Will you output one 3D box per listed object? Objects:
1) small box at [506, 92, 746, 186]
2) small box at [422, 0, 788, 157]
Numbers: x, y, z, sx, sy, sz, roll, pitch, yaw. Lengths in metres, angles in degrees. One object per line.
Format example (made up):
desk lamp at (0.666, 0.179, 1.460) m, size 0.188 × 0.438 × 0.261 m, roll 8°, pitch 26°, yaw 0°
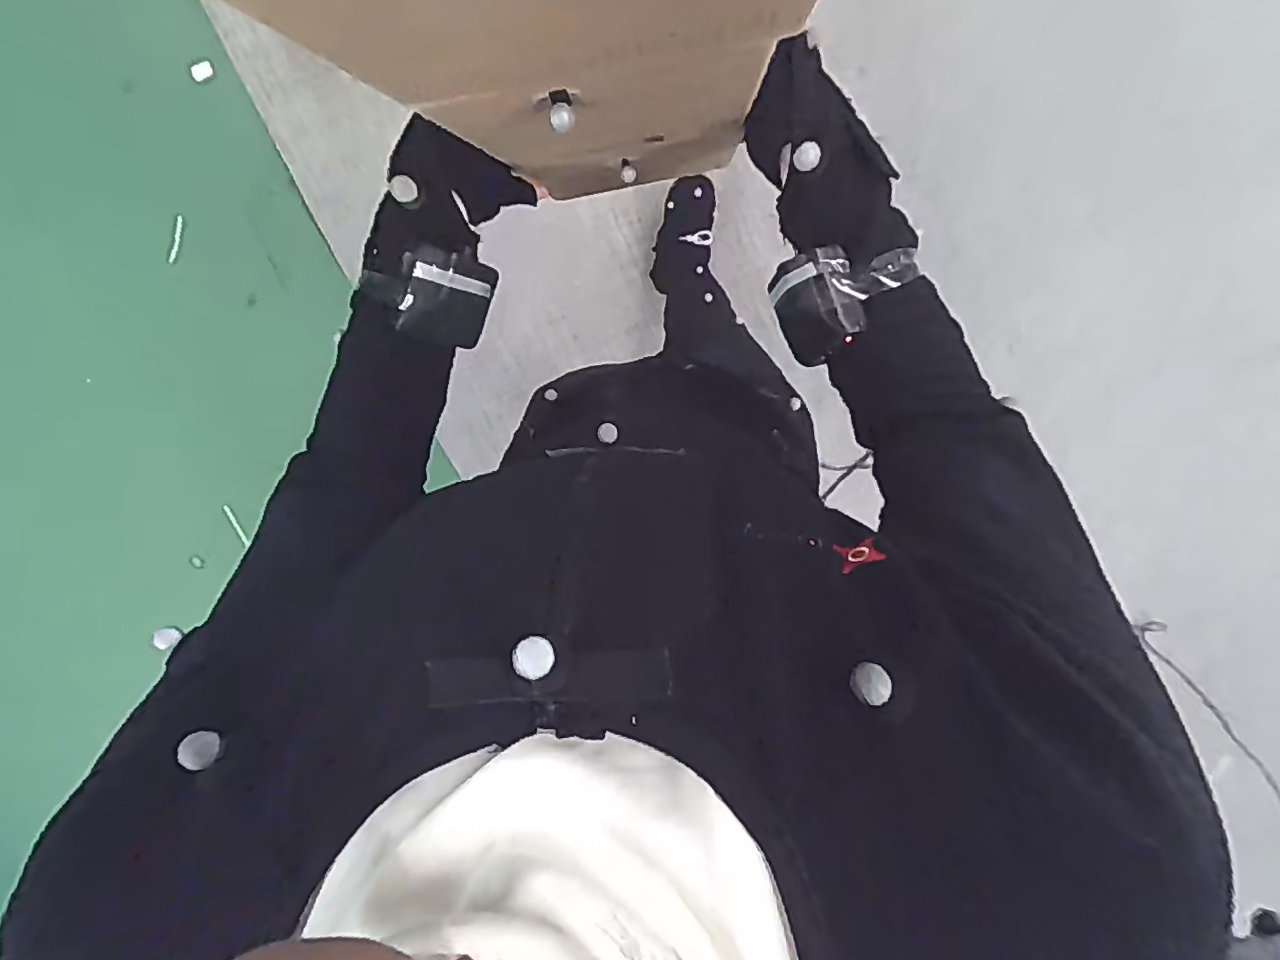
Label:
small box at (-0.017, -0.352, 0.435) m, size 0.179 × 0.176 × 0.168 m, roll -8°, pitch 110°, yaw 6°
small box at (-0.027, -0.298, 0.283) m, size 0.168 × 0.176 × 0.179 m, roll -9°, pitch 111°, yaw 7°
